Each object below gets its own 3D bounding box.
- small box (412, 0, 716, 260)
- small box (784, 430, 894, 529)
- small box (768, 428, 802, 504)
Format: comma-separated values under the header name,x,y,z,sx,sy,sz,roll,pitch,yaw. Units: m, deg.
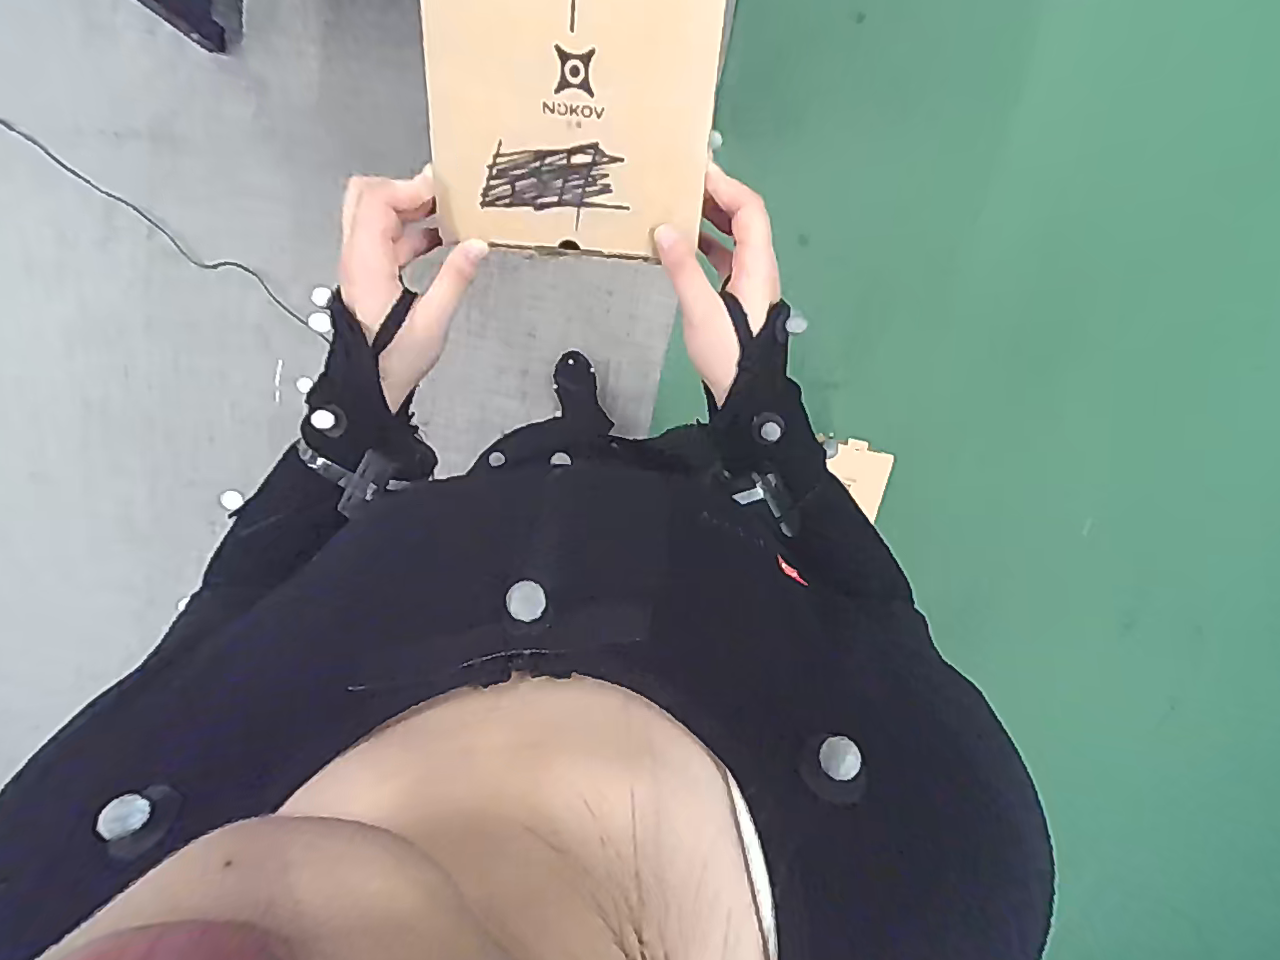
name,x,y,z,sx,sy,sz,roll,pitch,yaw
small box,-0.044,-0.260,0.378,0.168,0.176,0.179,3,115,-3
small box,0.443,-0.010,1.235,0.168,0.176,0.179,13,102,-2
small box,0.441,-0.031,1.397,0.168,0.176,0.179,10,102,-1
